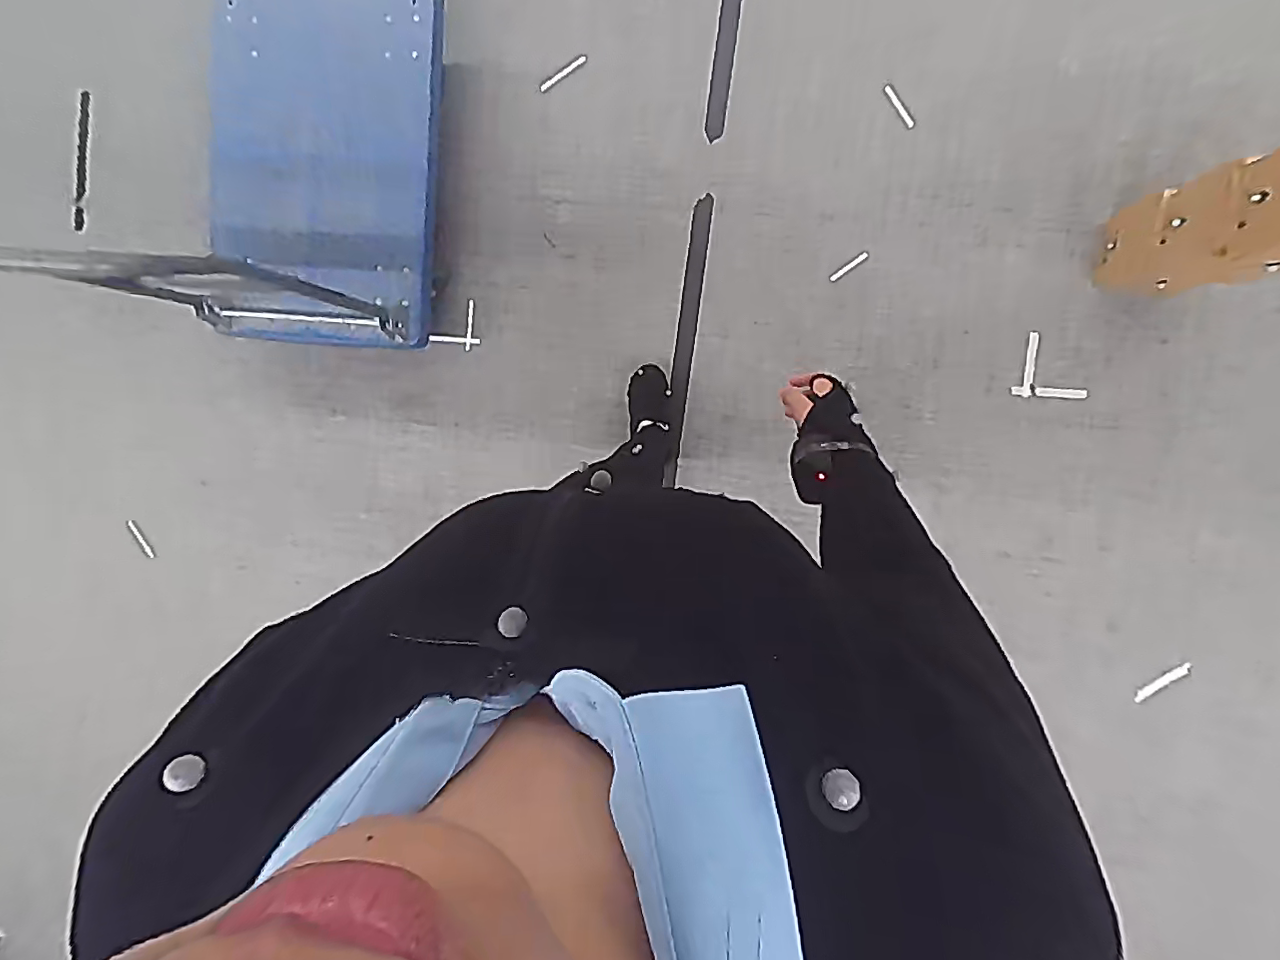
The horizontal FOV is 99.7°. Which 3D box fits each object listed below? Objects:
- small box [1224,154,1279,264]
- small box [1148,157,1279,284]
[{"bbox_3d":[1.152,-0.471,0.898,0.179,0.176,0.168,-1,94,7],"label":"small box"},{"bbox_3d":[1.172,-0.496,1.059,0.179,0.176,0.168,11,95,6],"label":"small box"}]
